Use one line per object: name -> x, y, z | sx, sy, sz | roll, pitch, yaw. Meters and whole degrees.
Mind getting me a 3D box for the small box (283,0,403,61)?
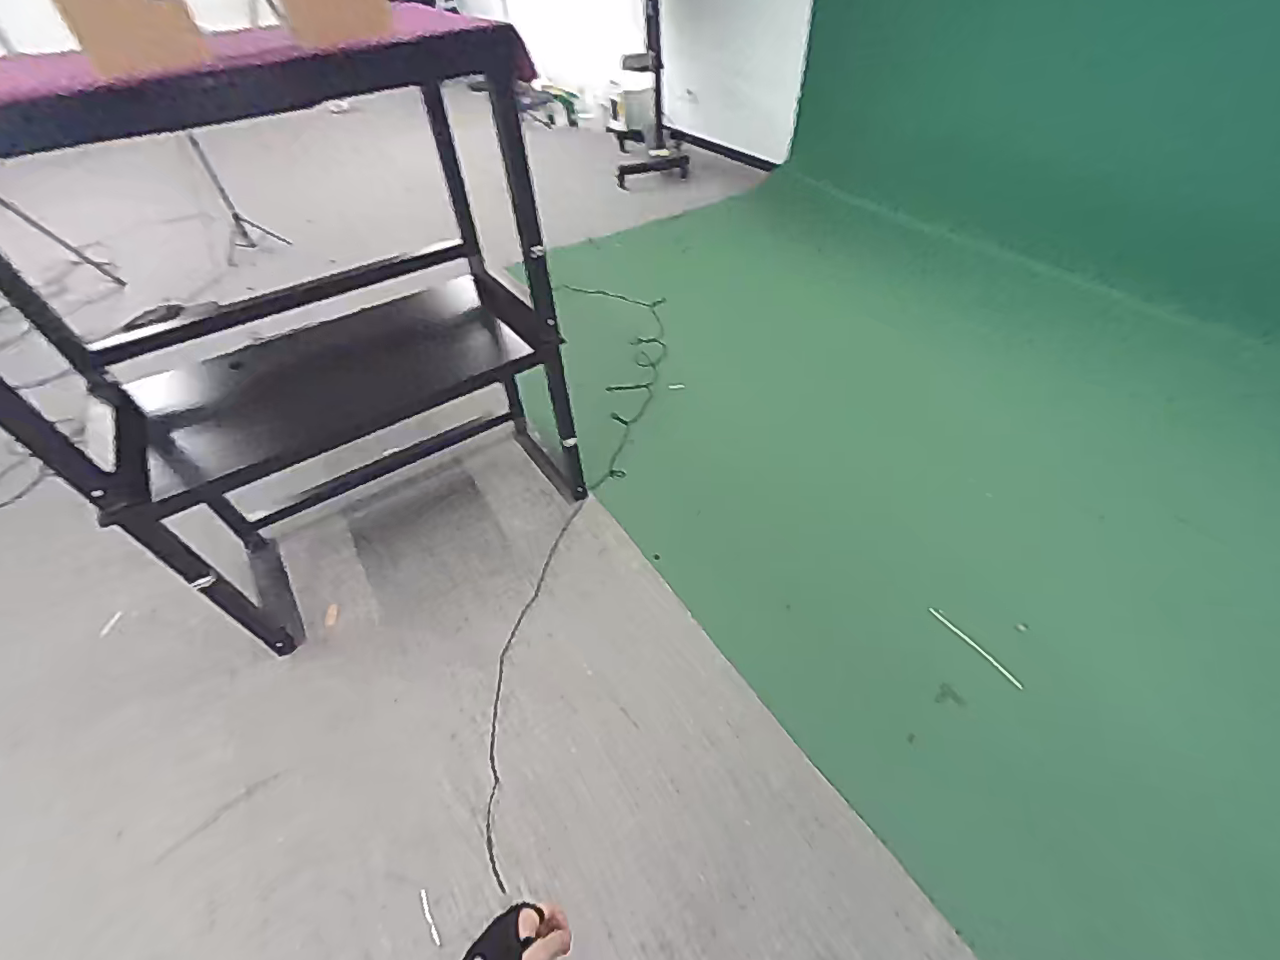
small box -> -0.588, -0.927, 1.038 | 0.179, 0.176, 0.168 | -25, 52, -19
